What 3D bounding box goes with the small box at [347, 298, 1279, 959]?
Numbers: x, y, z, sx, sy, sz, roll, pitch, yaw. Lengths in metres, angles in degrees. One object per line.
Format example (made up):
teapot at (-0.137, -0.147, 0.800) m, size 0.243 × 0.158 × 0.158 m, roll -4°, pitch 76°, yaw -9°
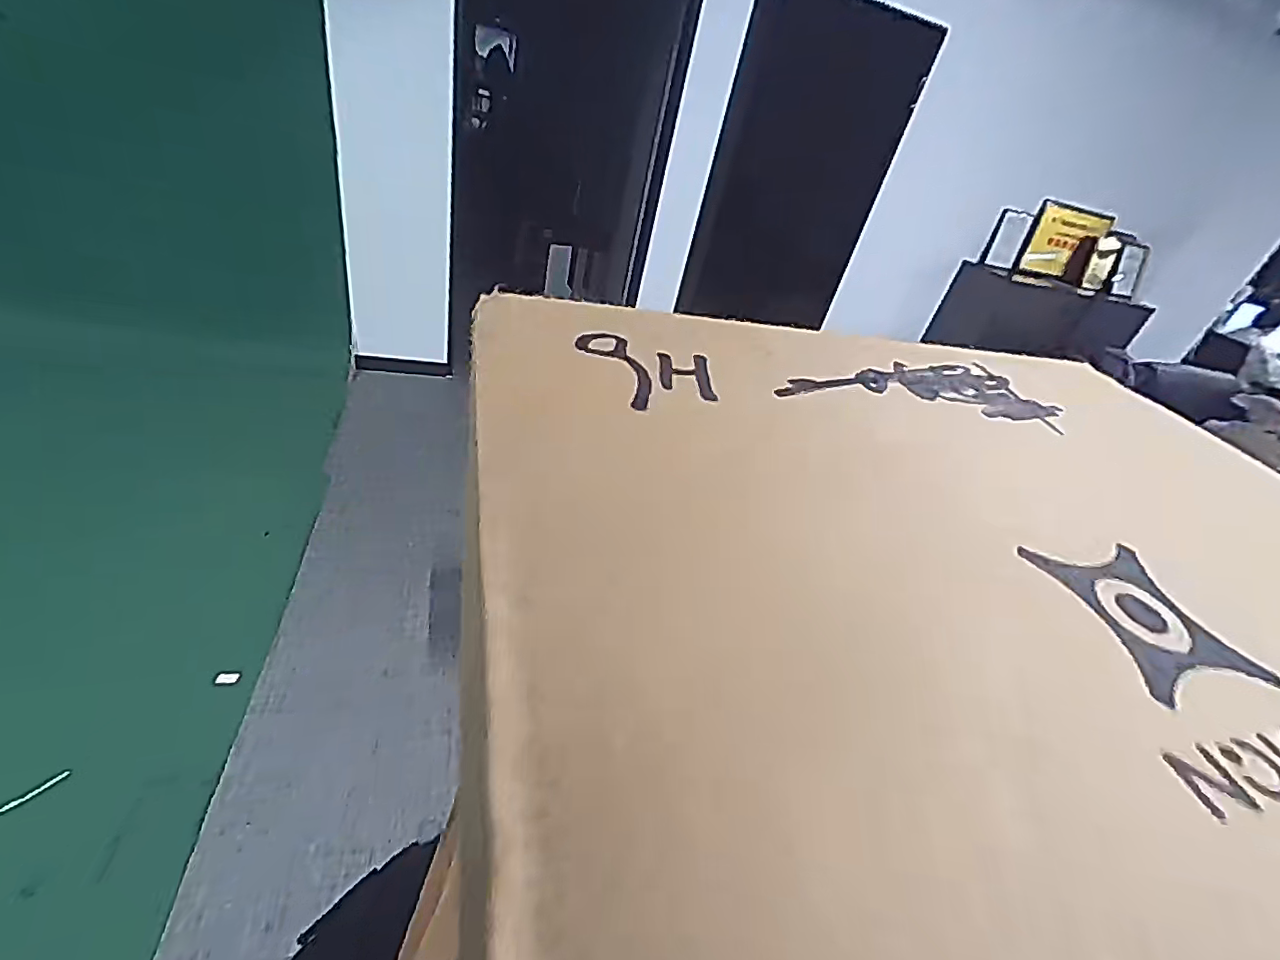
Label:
small box at (0.038, 0.085, 0.120) m, size 0.168 × 0.176 × 0.179 m, roll 2°, pitch 42°, yaw -17°
